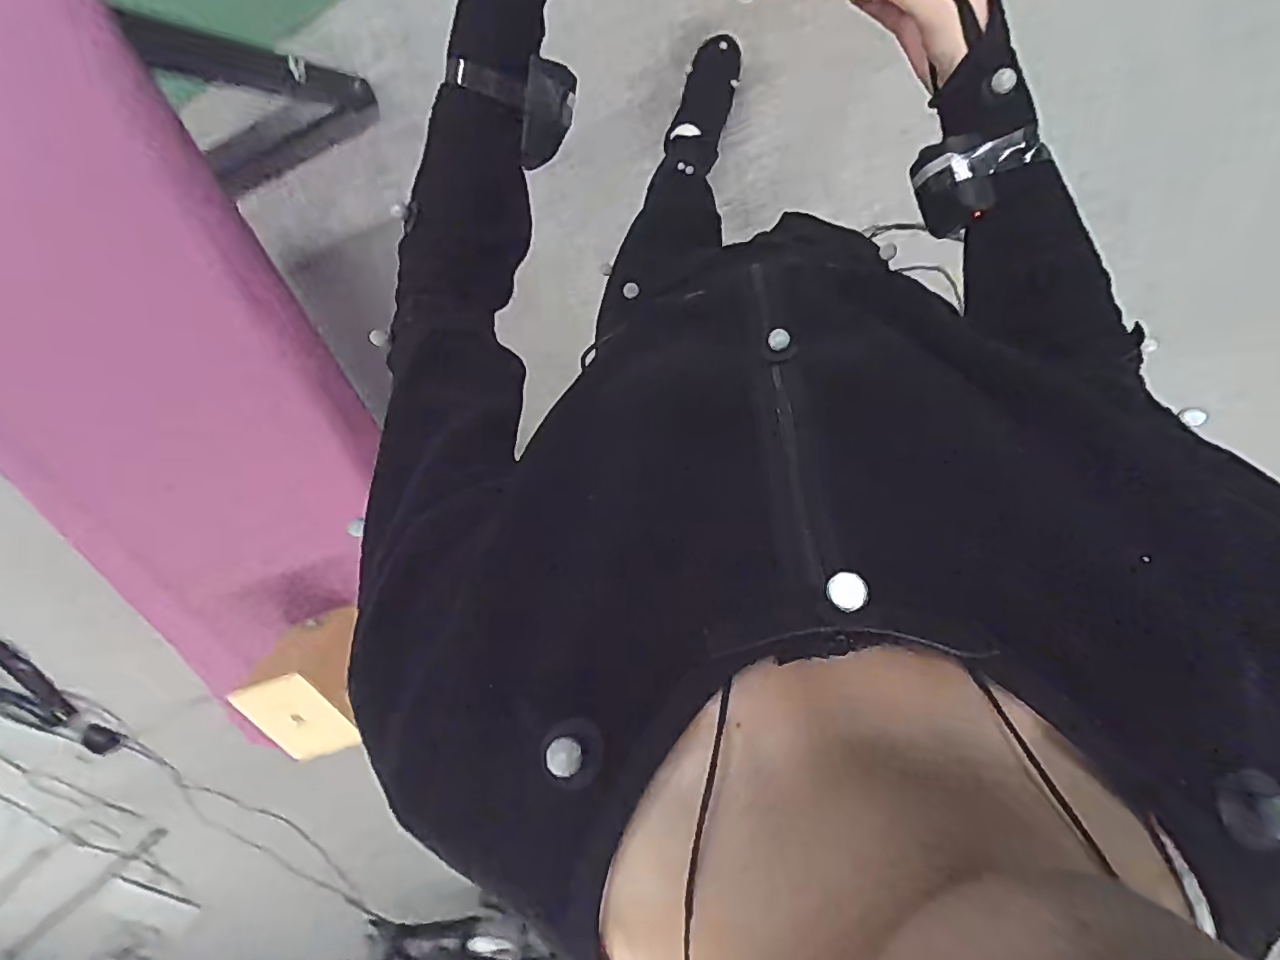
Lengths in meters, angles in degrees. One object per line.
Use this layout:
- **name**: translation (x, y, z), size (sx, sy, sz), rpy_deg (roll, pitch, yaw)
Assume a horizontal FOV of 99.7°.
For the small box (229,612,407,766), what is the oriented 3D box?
- **small box**: translation (-0.555, 0.367, 0.961), size (0.168, 0.176, 0.179), rpy_deg (-21, 115, 15)
